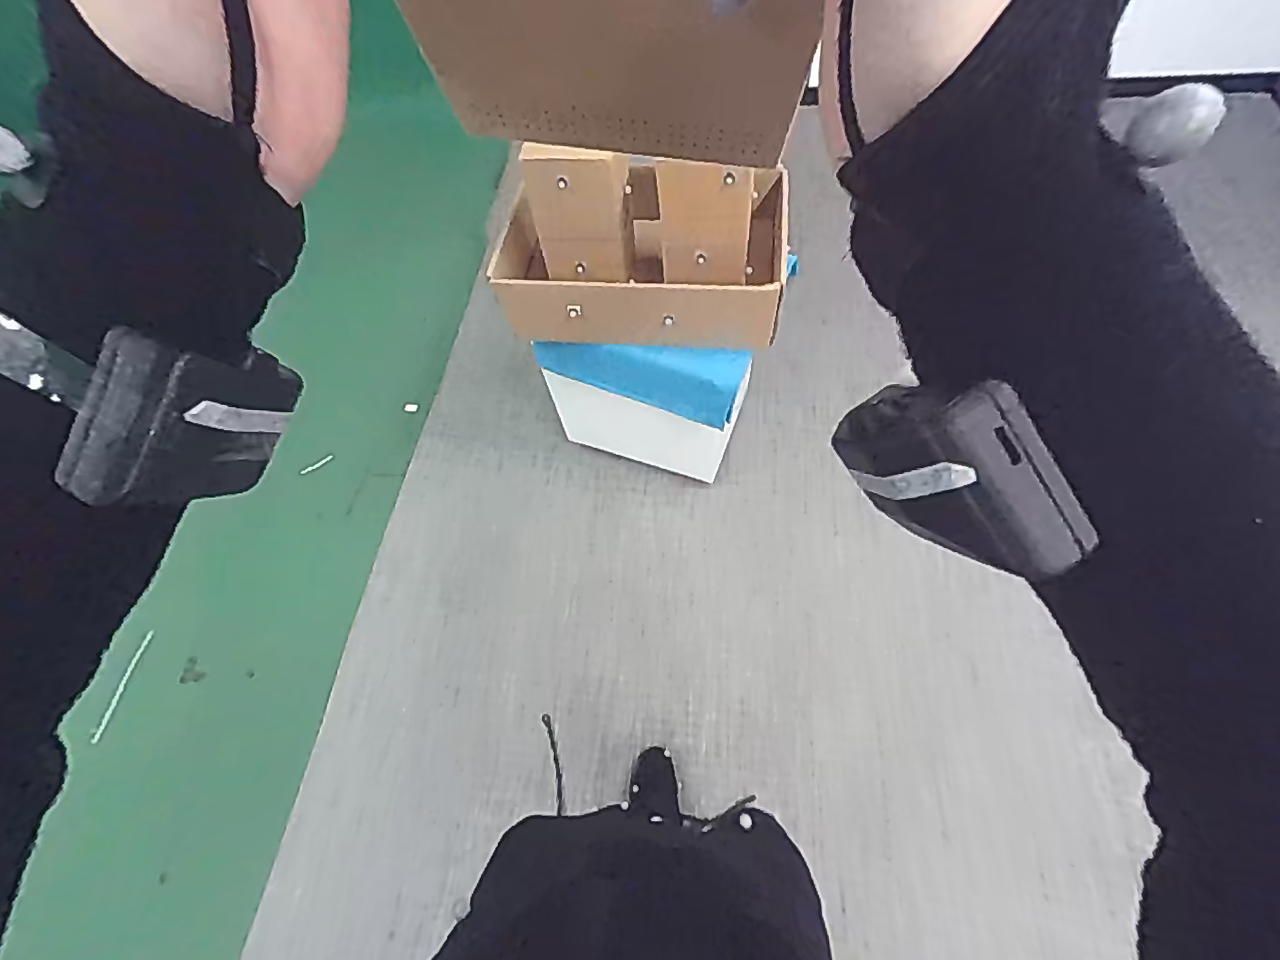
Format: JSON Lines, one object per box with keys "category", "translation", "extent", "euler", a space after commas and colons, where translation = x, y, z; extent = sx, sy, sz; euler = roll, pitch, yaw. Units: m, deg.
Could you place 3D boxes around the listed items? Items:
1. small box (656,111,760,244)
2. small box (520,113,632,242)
{"category": "small box", "translation": [0.134, -0.581, 1.049], "extent": [0.179, 0.176, 0.168], "euler": [5, 63, 9]}
{"category": "small box", "translation": [-0.118, -0.599, 1.080], "extent": [0.179, 0.176, 0.168], "euler": [5, 62, 7]}
